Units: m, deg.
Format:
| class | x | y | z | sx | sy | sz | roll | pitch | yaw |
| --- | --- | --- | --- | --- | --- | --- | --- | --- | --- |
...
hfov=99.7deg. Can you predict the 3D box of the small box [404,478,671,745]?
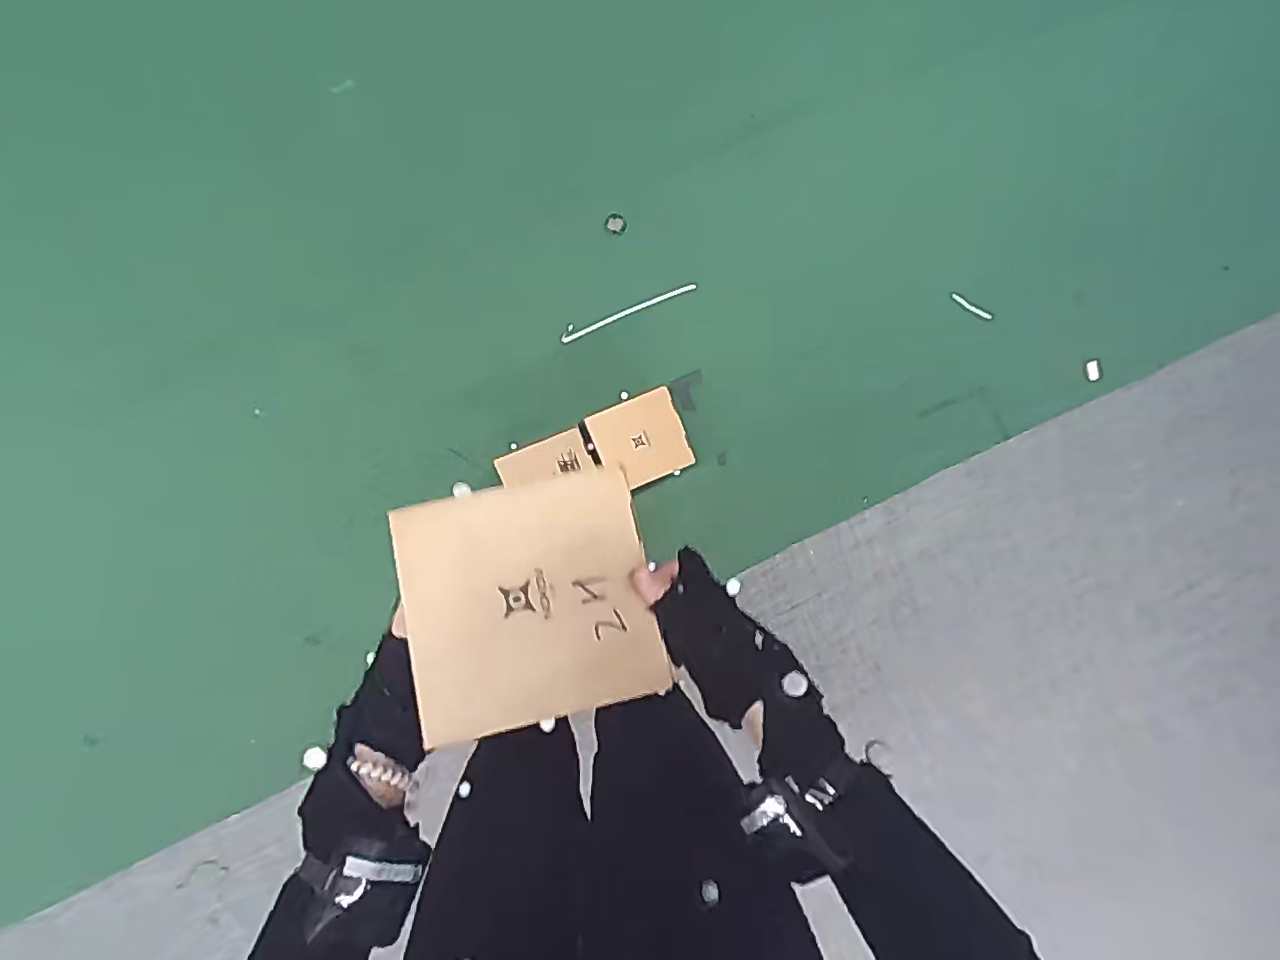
| class | x | y | z | sx | sy | sz | roll | pitch | yaw |
| --- | --- | --- | --- | --- | --- | --- | --- | --- | --- |
| small box | -0.081 | 0.109 | 0.473 | 0.179 | 0.176 | 0.168 | -11 | 79 | -7 |
